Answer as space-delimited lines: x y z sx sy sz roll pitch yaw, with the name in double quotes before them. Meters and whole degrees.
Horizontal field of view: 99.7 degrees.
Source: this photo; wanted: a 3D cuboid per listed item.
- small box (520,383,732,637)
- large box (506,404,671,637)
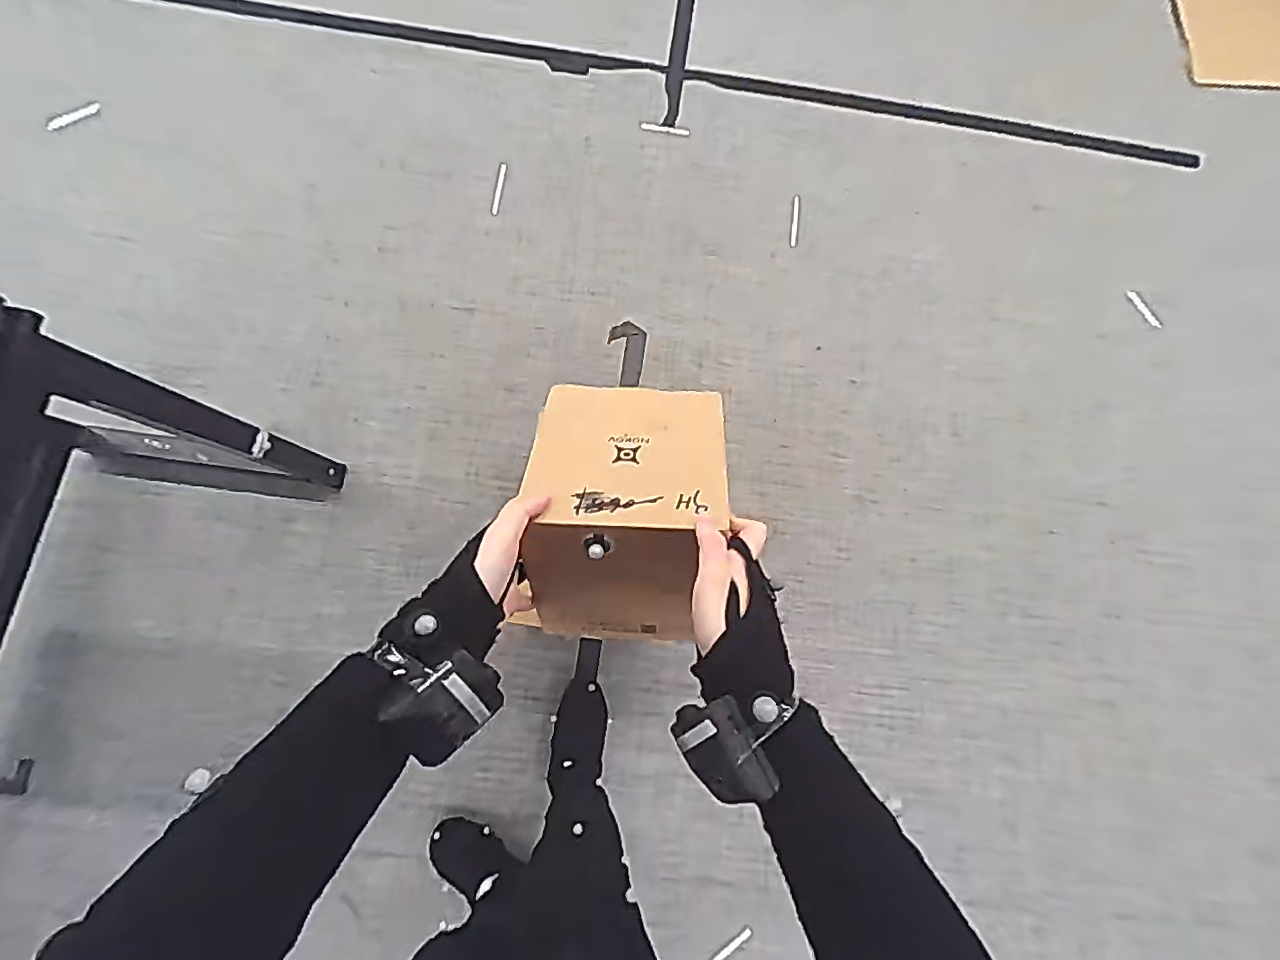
"small box" -0.005 0.027 0.522 0.168 0.176 0.179 2 44 4
"large box" -0.073 0.098 1.137 0.320 0.320 0.408 9 78 -4
